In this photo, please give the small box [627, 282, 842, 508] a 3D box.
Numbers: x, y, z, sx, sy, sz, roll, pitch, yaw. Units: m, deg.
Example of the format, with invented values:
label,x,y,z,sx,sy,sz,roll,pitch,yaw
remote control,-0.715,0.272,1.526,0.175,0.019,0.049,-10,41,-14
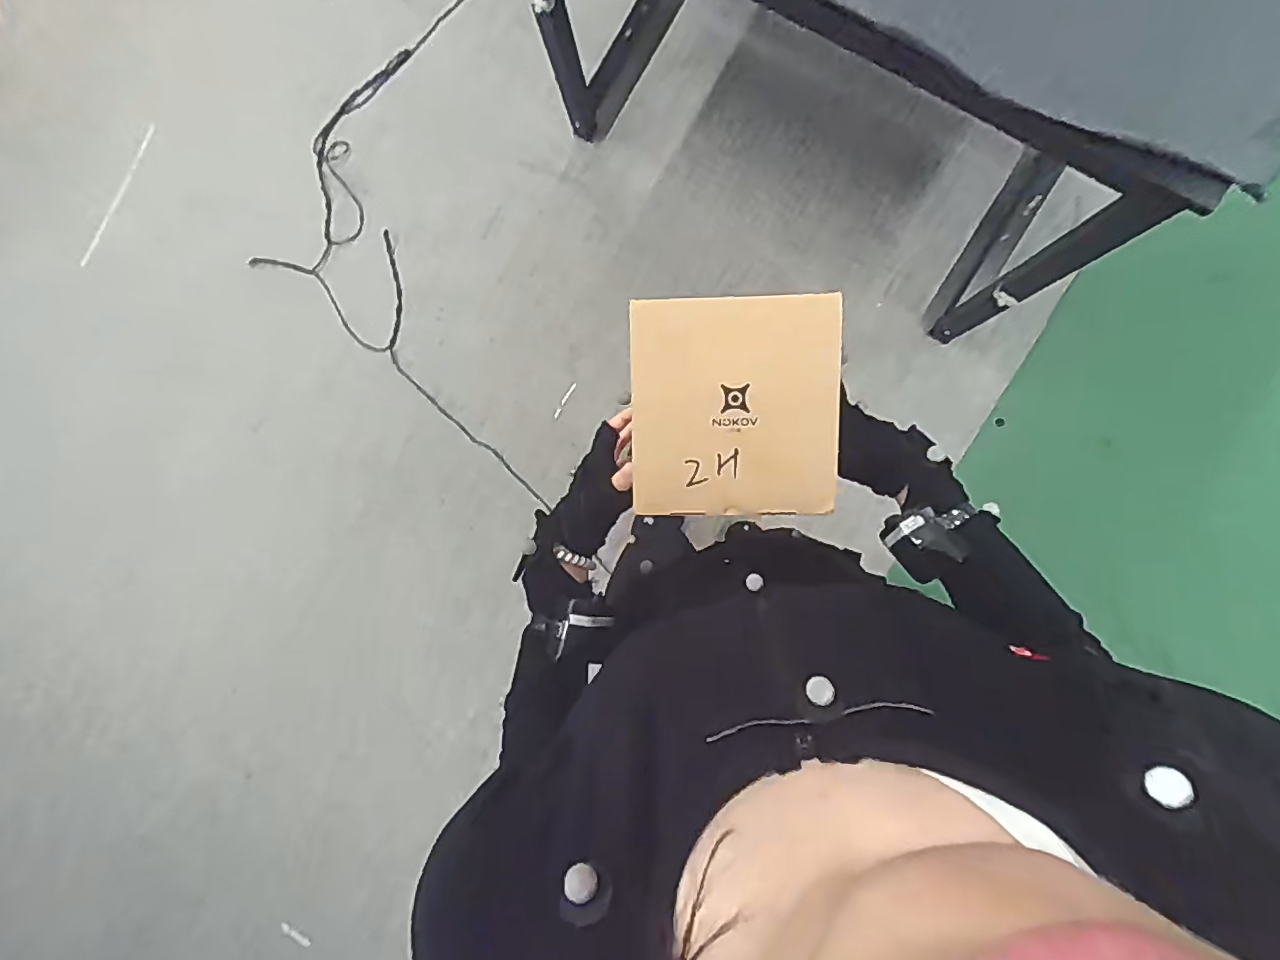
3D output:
label,x,y,z,sx,sy,sz,roll,pitch,yaw
small box,0.077,-0.075,0.503,0.168,0.176,0.179,1,98,5
